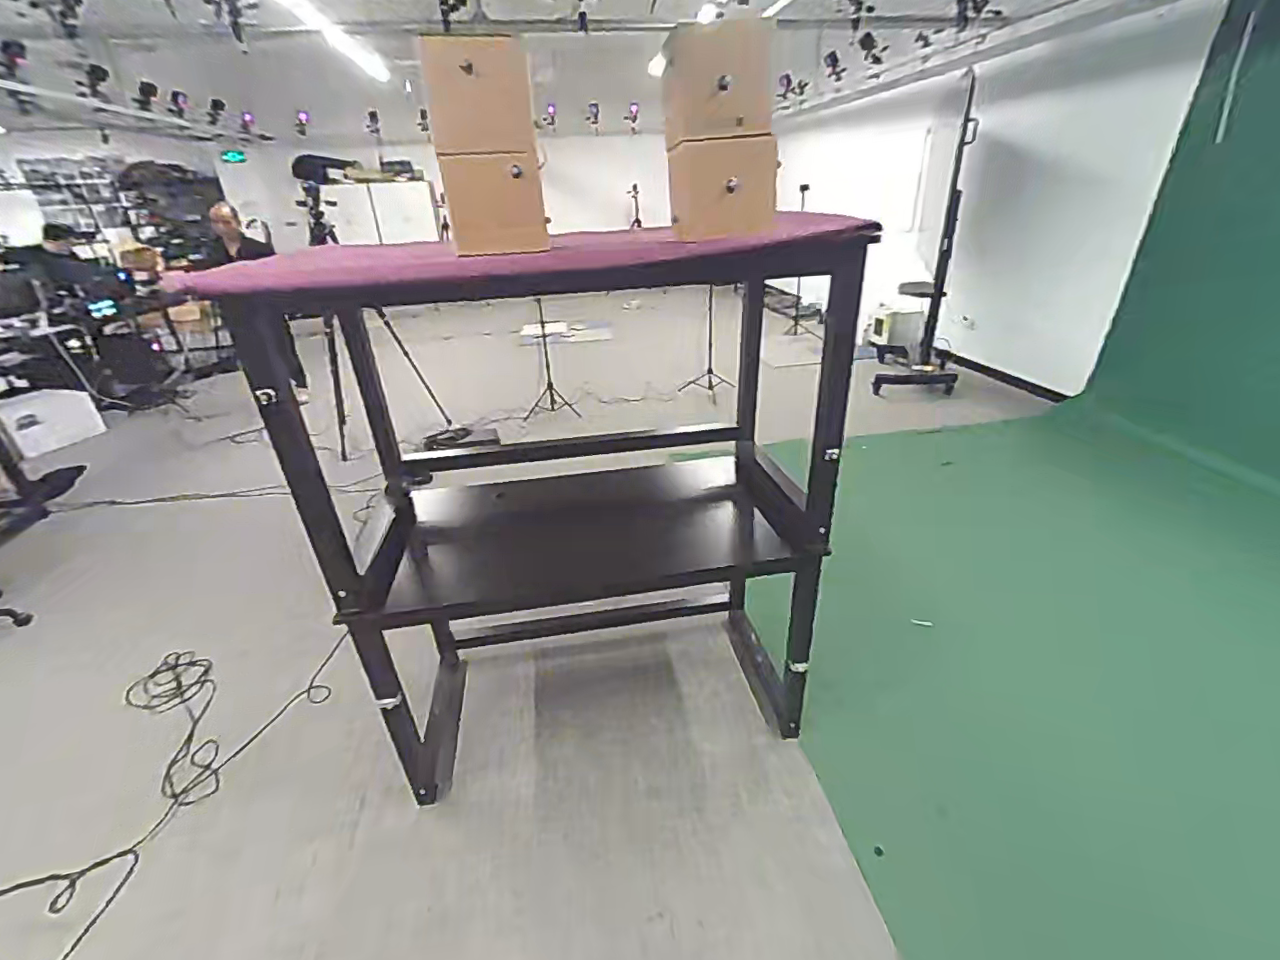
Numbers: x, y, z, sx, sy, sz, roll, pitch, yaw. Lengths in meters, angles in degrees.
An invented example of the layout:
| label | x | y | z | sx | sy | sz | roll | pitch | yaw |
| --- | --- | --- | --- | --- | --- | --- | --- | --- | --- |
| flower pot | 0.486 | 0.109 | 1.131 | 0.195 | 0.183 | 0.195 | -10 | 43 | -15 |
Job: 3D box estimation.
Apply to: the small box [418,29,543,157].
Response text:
| label | x | y | z | sx | sy | sz | roll | pitch | yaw |
| --- | --- | --- | --- | --- | --- | --- | --- | --- | --- |
| small box | -0.276 | -0.681 | 0.974 | 0.179 | 0.176 | 0.168 | -4 | 27 | -6 |

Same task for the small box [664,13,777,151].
| label | x | y | z | sx | sy | sz | roll | pitch | yaw |
| --- | --- | --- | --- | --- | --- | --- | --- | --- | --- |
| small box | 0.142 | -0.711 | 0.982 | 0.168 | 0.176 | 0.179 | -7 | 26 | -5 |

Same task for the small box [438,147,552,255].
| label | x | y | z | sx | sy | sz | roll | pitch | yaw |
| --- | --- | --- | --- | --- | --- | --- | --- | --- | --- |
| small box | -0.268 | -0.532 | 1.044 | 0.179 | 0.176 | 0.168 | -5 | 27 | -6 |
